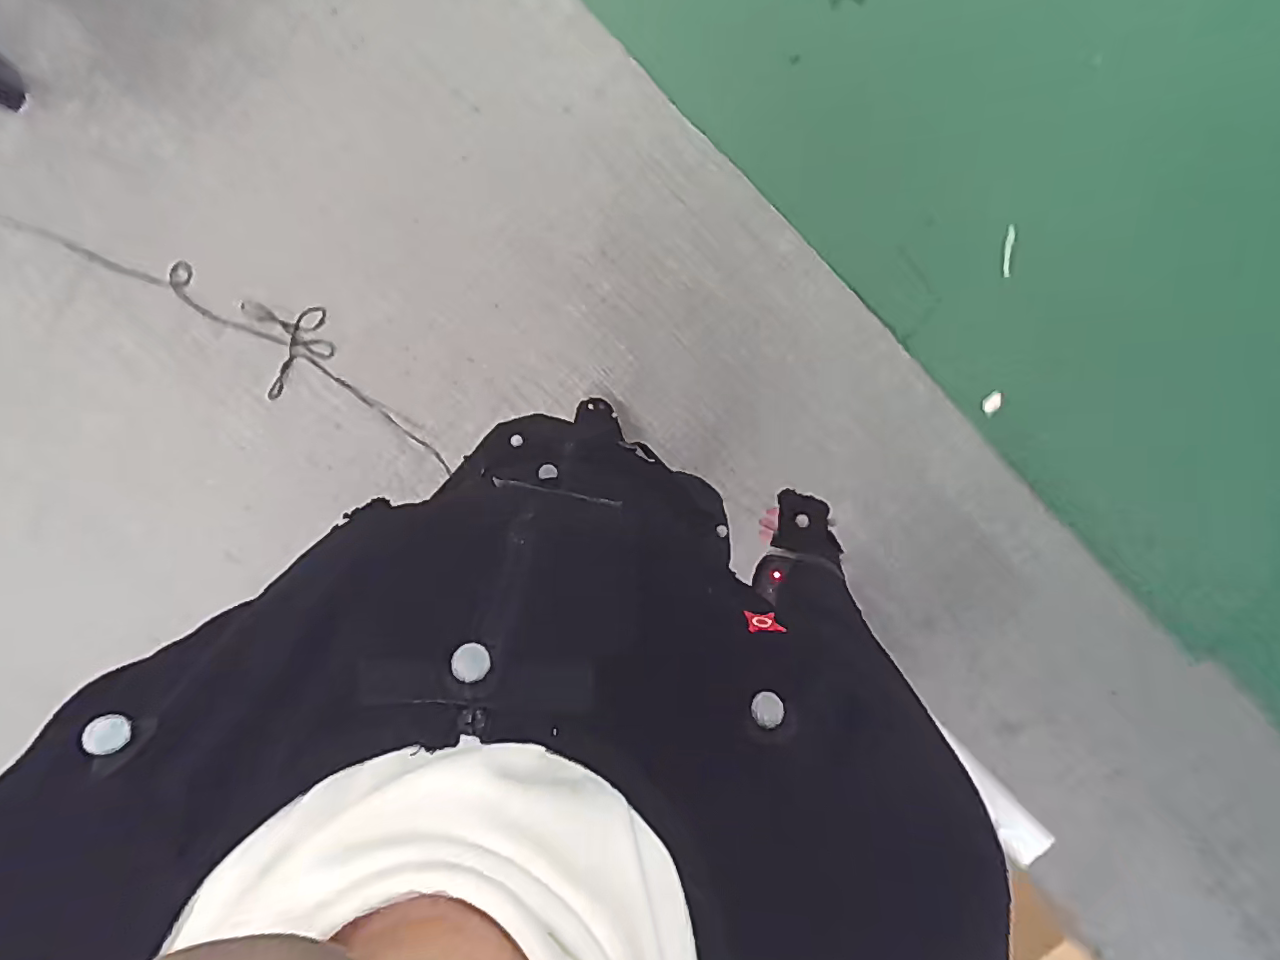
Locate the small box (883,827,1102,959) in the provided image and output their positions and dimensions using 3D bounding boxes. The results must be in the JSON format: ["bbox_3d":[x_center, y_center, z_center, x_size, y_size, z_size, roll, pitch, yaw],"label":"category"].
[{"bbox_3d":[0.425,0.559,0.624,0.168,0.176,0.179,-44,93,5],"label":"small box"}]
